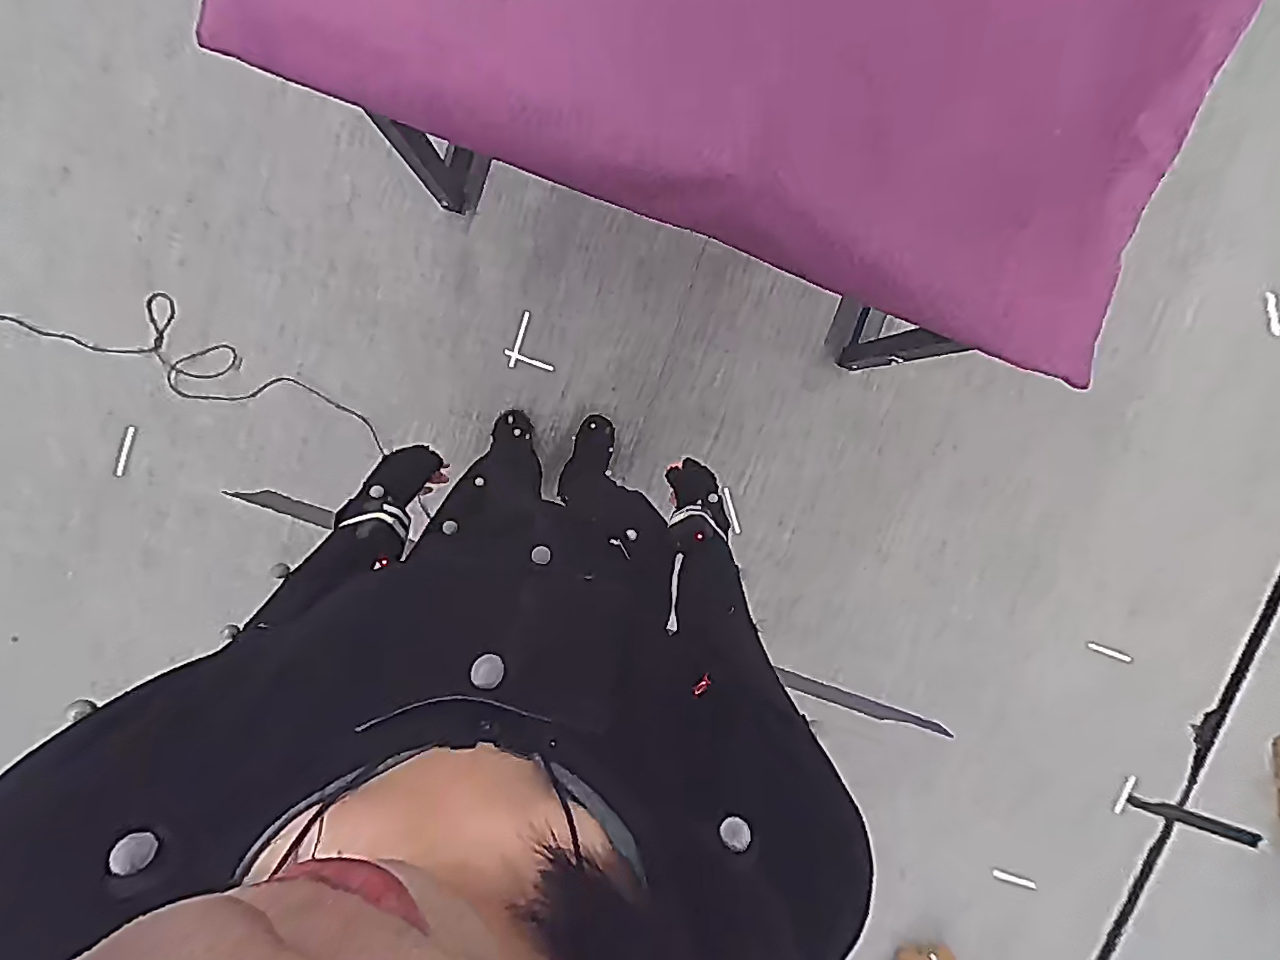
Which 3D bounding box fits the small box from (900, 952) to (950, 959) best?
[{"bbox_3d":[0.922,1.618,1.669,0.168,0.176,0.179,-3,96,-3],"label":"small box"}]
